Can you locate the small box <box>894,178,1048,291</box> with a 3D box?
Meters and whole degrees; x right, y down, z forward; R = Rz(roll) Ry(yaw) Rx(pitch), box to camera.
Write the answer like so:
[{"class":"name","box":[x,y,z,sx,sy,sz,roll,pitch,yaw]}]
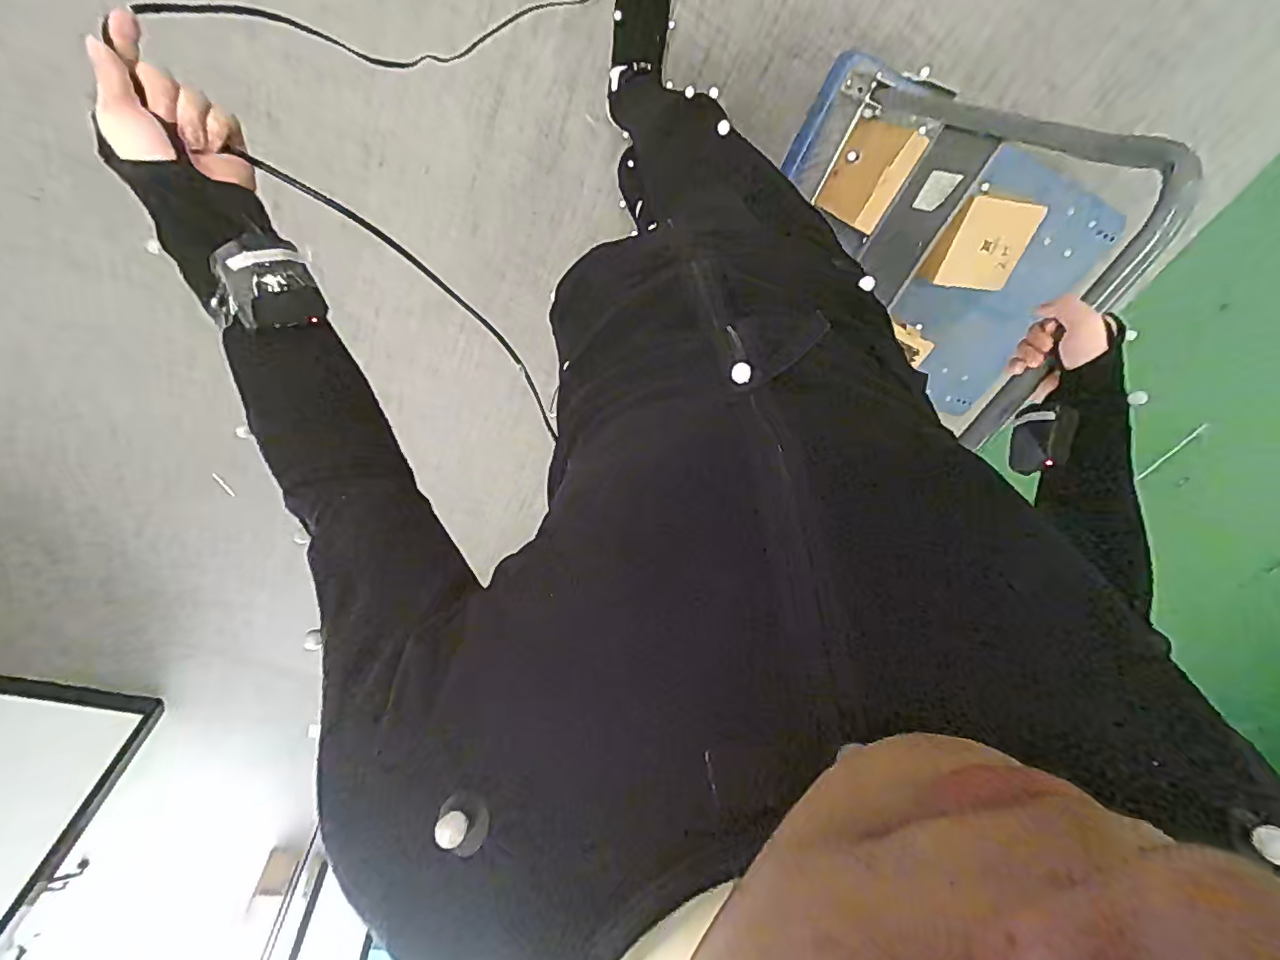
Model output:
[{"class":"small box","box":[0.666,-0.508,1.114,0.179,0.176,0.168,0,130,-14]}]
